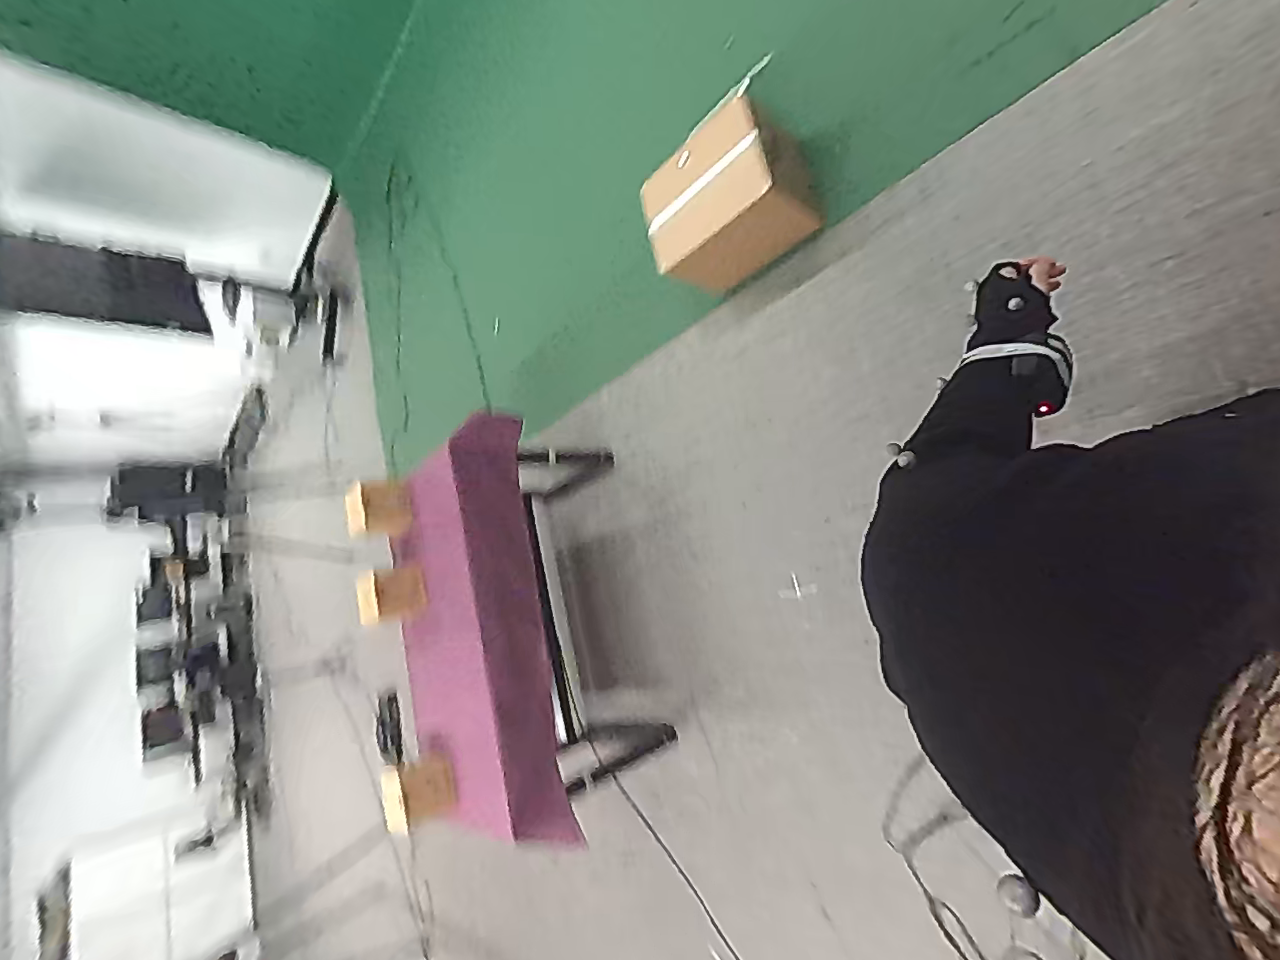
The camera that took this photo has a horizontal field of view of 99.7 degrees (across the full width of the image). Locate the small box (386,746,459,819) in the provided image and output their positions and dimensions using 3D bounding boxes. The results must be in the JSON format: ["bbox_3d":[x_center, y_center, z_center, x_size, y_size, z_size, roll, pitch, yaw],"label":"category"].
[{"bbox_3d":[-0.712,0.992,1.783,0.179,0.176,0.168,-30,69,40],"label":"small box"}]

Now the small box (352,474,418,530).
[{"bbox_3d":[-0.937,0.080,1.987,0.179,0.176,0.168,-24,75,43],"label":"small box"}]

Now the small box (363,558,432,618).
[{"bbox_3d":[-0.863,0.384,1.925,0.179,0.176,0.168,-27,72,42],"label":"small box"}]
